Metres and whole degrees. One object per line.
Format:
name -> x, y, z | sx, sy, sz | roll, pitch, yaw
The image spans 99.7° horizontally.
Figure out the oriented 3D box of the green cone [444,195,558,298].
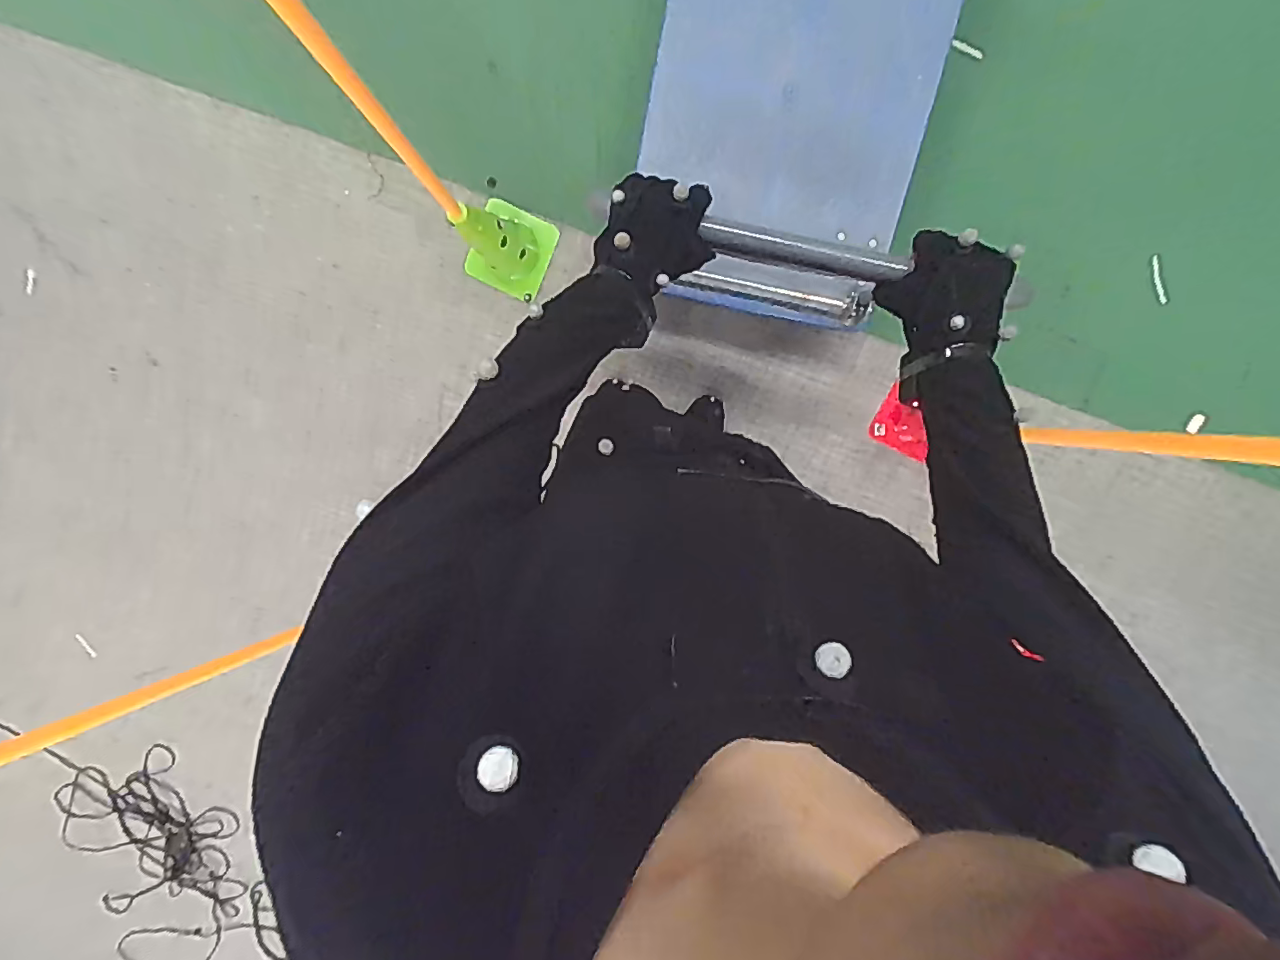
green cone -> -0.341, -0.564, 1.217 | 0.202, 0.368, 0.200 | 25, 101, 0
